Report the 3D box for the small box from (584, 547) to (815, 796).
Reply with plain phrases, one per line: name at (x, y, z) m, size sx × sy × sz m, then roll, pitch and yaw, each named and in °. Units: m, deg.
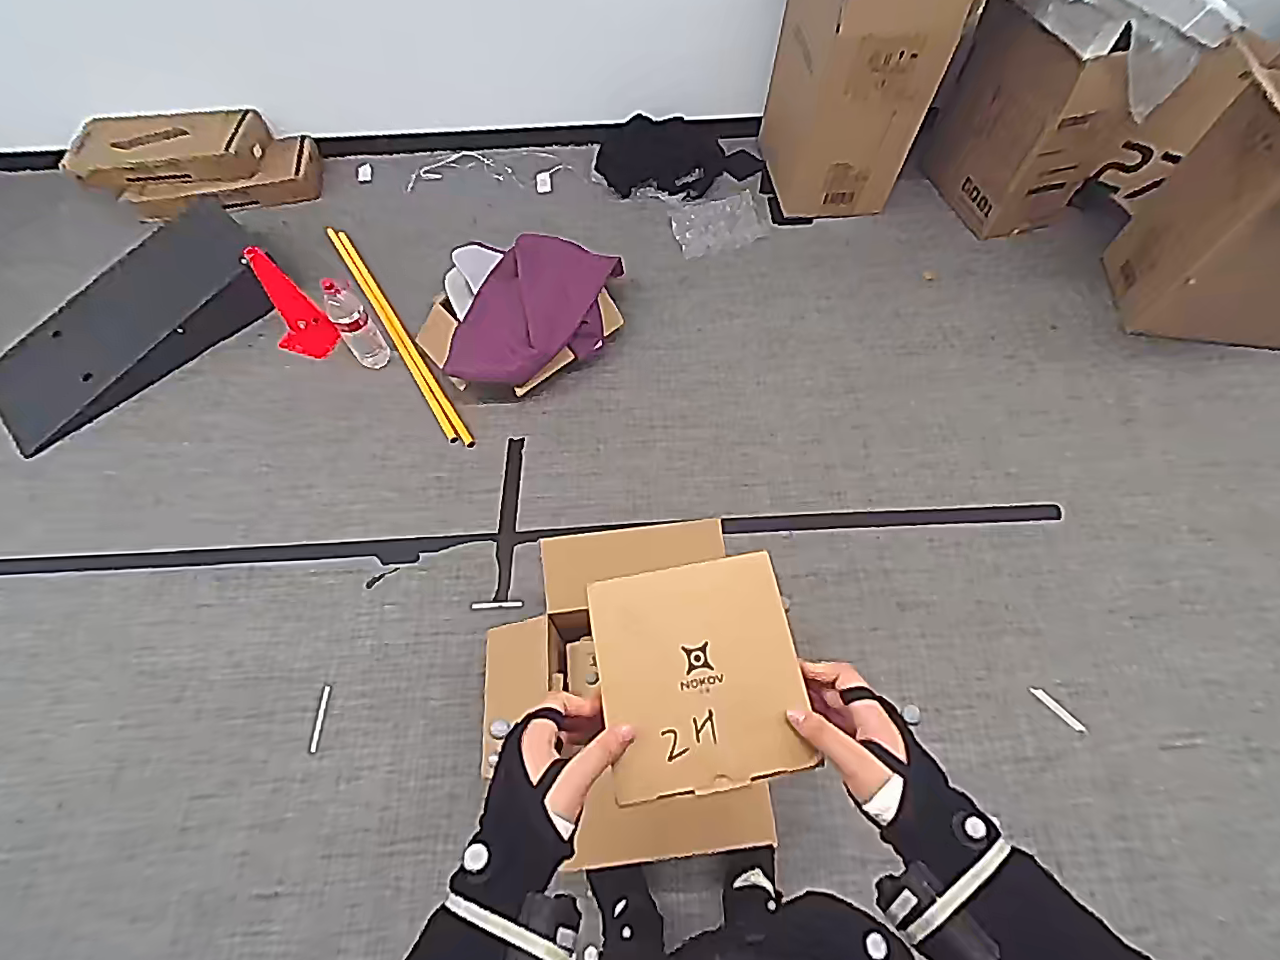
small box at (0.044, 0.181, 0.521) m, size 0.168 × 0.176 × 0.179 m, roll -10°, pitch 68°, yaw -2°
